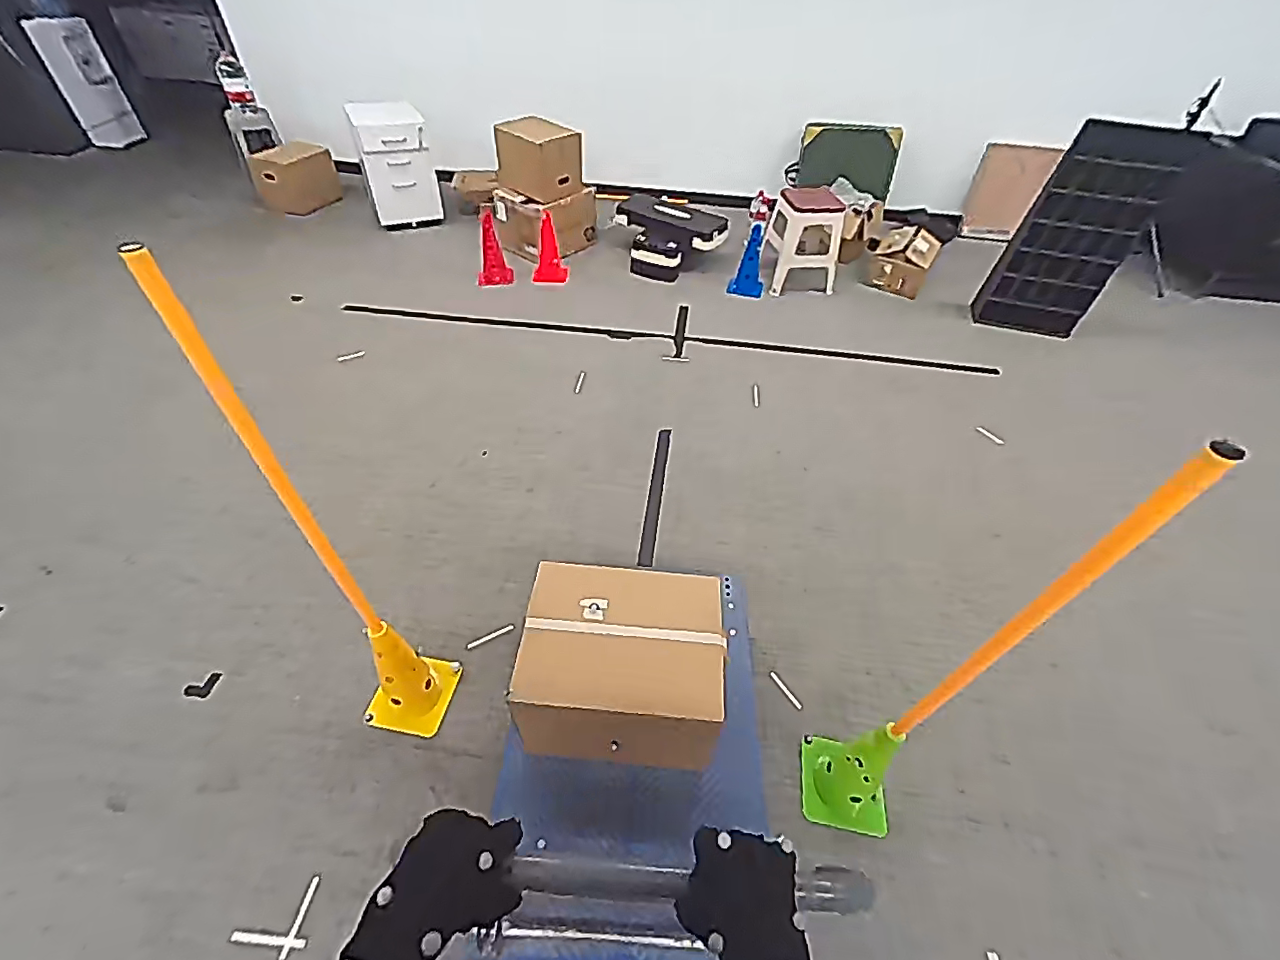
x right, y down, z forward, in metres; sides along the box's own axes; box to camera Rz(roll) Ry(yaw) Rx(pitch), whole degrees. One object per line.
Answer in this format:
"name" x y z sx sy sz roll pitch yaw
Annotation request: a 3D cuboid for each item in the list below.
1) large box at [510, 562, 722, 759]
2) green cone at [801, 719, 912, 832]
"large box" -0.037 0.407 1.210 0.408 0.320 0.320 5 47 2
"green cone" 0.517 0.634 1.230 0.202 0.368 0.200 11 47 5
